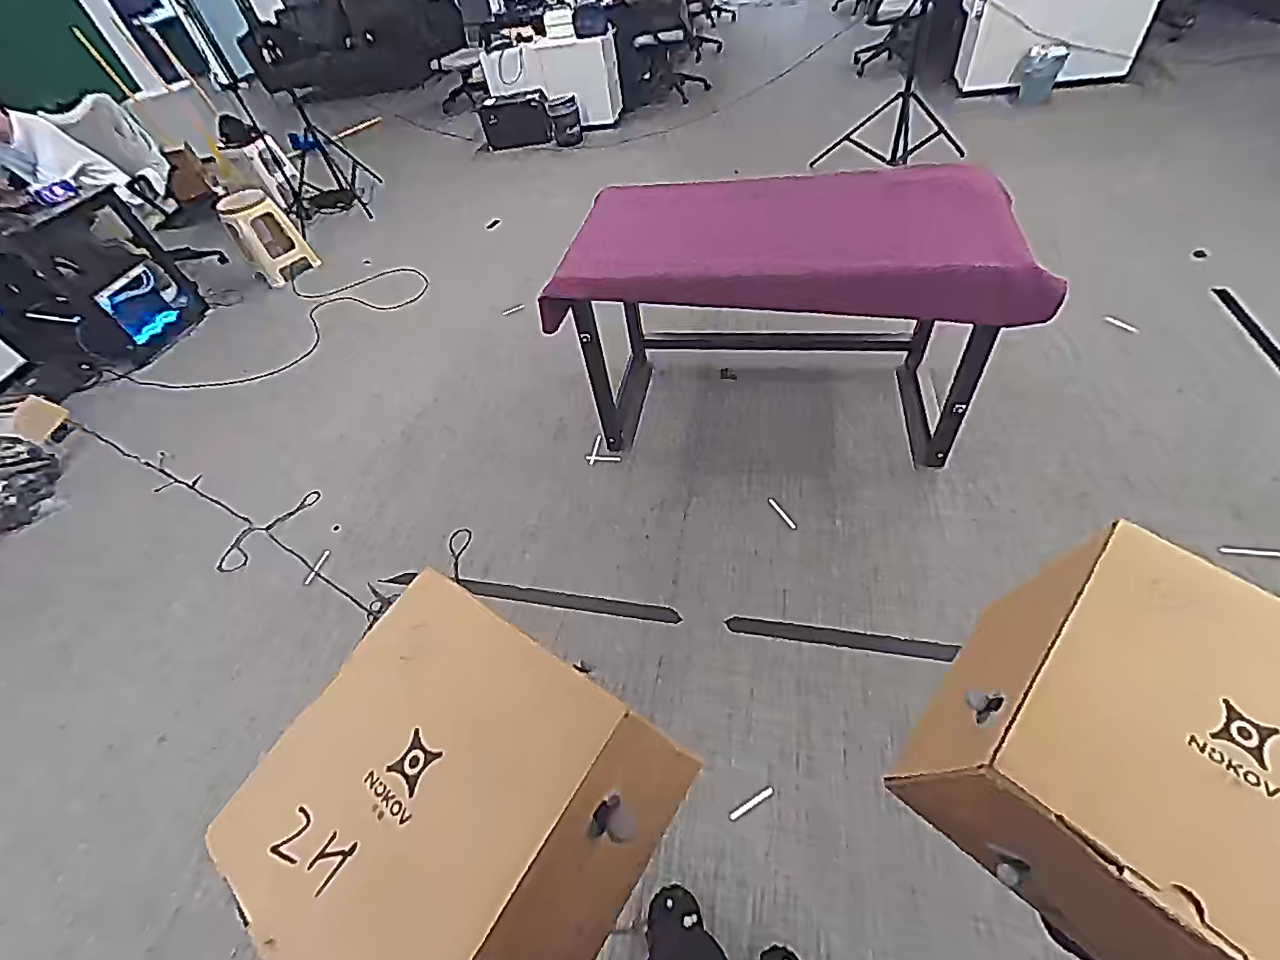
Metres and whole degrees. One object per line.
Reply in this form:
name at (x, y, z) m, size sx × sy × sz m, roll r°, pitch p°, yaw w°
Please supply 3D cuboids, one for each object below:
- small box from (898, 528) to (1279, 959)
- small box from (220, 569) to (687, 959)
small box at (0.291, 0.167, 0.329) m, size 0.168 × 0.176 × 0.179 m, roll 36°, pitch 69°, yaw 22°
small box at (-0.087, 0.191, 0.331) m, size 0.168 × 0.176 × 0.179 m, roll 23°, pitch 67°, yaw 32°
